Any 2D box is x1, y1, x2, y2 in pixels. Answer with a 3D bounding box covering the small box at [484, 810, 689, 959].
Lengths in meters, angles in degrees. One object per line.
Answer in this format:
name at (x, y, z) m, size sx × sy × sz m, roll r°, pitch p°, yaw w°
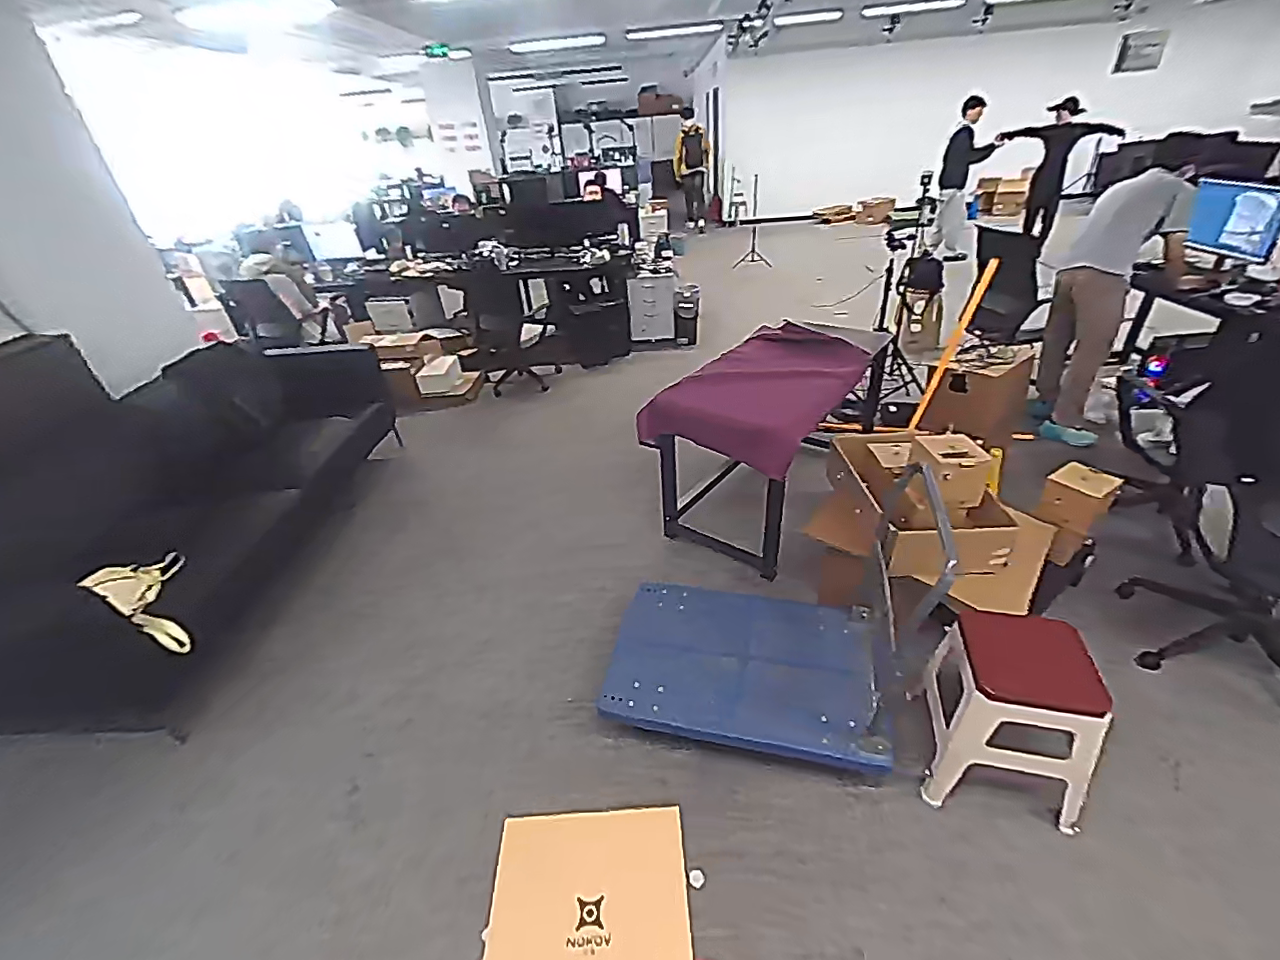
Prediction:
small box at (-0.040, 0.433, 0.490) m, size 0.168 × 0.176 × 0.179 m, roll -4°, pitch 35°, yaw 1°
